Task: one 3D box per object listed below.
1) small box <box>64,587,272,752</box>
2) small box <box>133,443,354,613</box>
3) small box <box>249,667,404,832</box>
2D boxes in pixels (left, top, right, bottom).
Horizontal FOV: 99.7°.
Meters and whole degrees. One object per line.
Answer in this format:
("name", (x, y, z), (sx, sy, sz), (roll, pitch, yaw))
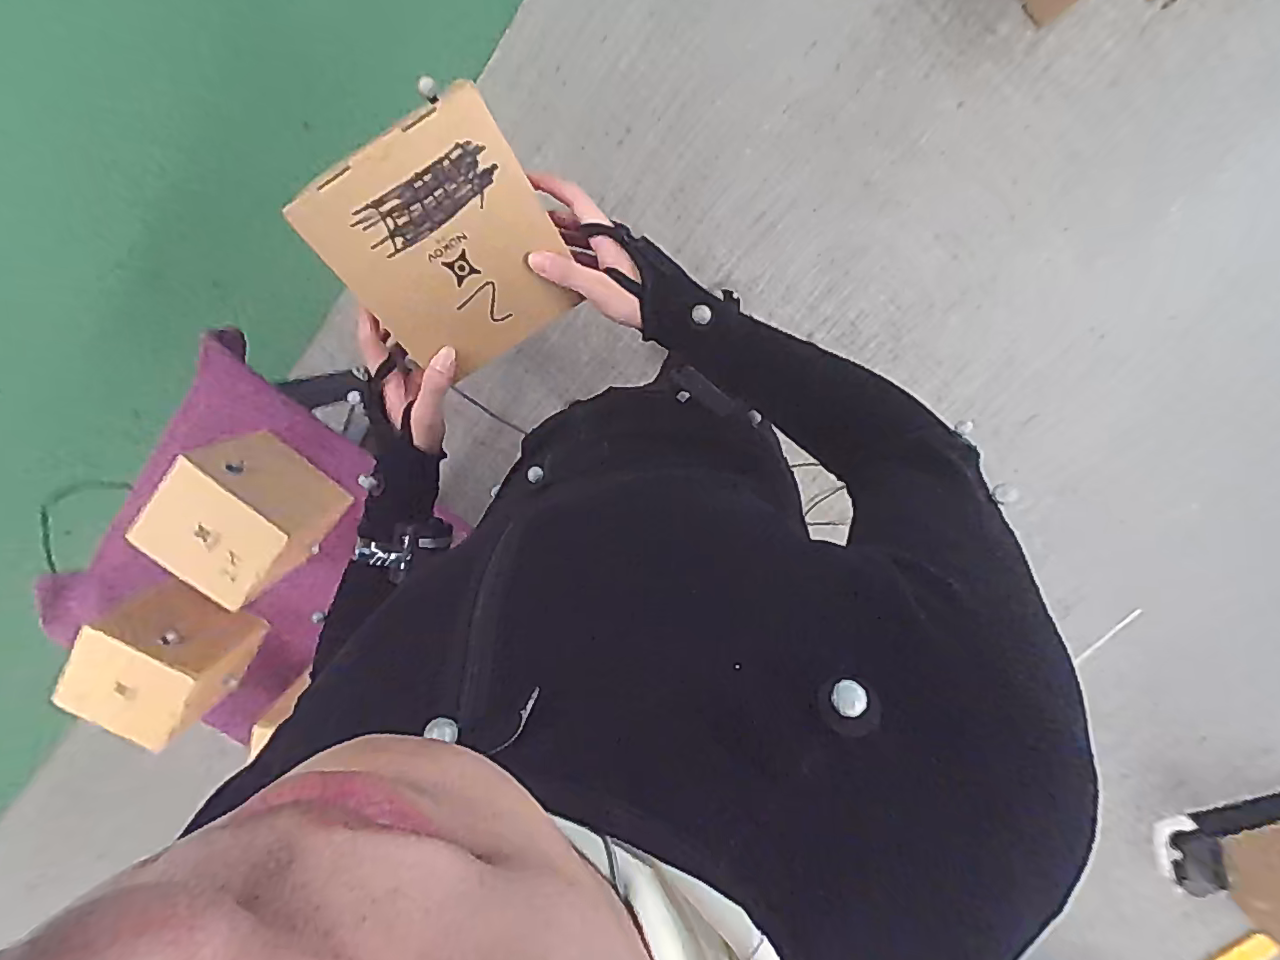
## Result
("small box", (-0.779, 0.305, 0.910), (0.179, 0.176, 0.168), (32, 104, -9))
("small box", (-0.591, 0.061, 0.829), (0.179, 0.176, 0.168), (41, 105, -11))
("small box", (-0.540, 0.463, 0.952), (0.168, 0.176, 0.179), (19, 107, -4))
